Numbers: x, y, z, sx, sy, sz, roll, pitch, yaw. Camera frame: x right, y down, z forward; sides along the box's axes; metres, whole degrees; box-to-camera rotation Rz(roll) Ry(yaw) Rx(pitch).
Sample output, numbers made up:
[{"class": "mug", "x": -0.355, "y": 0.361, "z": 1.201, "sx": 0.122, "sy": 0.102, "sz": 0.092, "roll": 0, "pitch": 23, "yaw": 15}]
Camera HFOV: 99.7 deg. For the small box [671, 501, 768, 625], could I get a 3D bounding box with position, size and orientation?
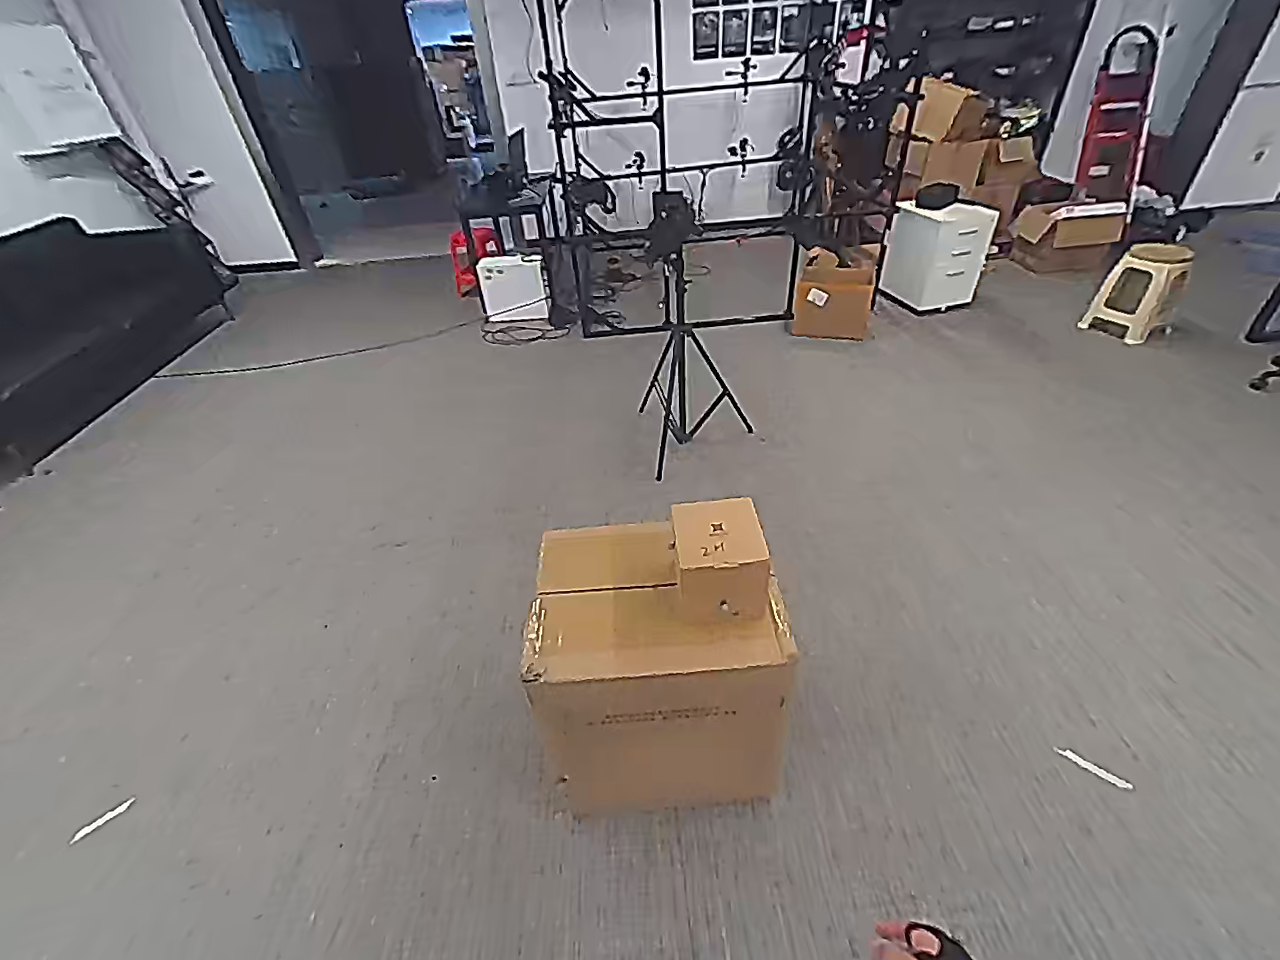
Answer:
[{"class": "small box", "x": 0.151, "y": 0.165, "z": 1.084, "sx": 0.168, "sy": 0.176, "sz": 0.179, "roll": -6, "pitch": 39, "yaw": 1}]
